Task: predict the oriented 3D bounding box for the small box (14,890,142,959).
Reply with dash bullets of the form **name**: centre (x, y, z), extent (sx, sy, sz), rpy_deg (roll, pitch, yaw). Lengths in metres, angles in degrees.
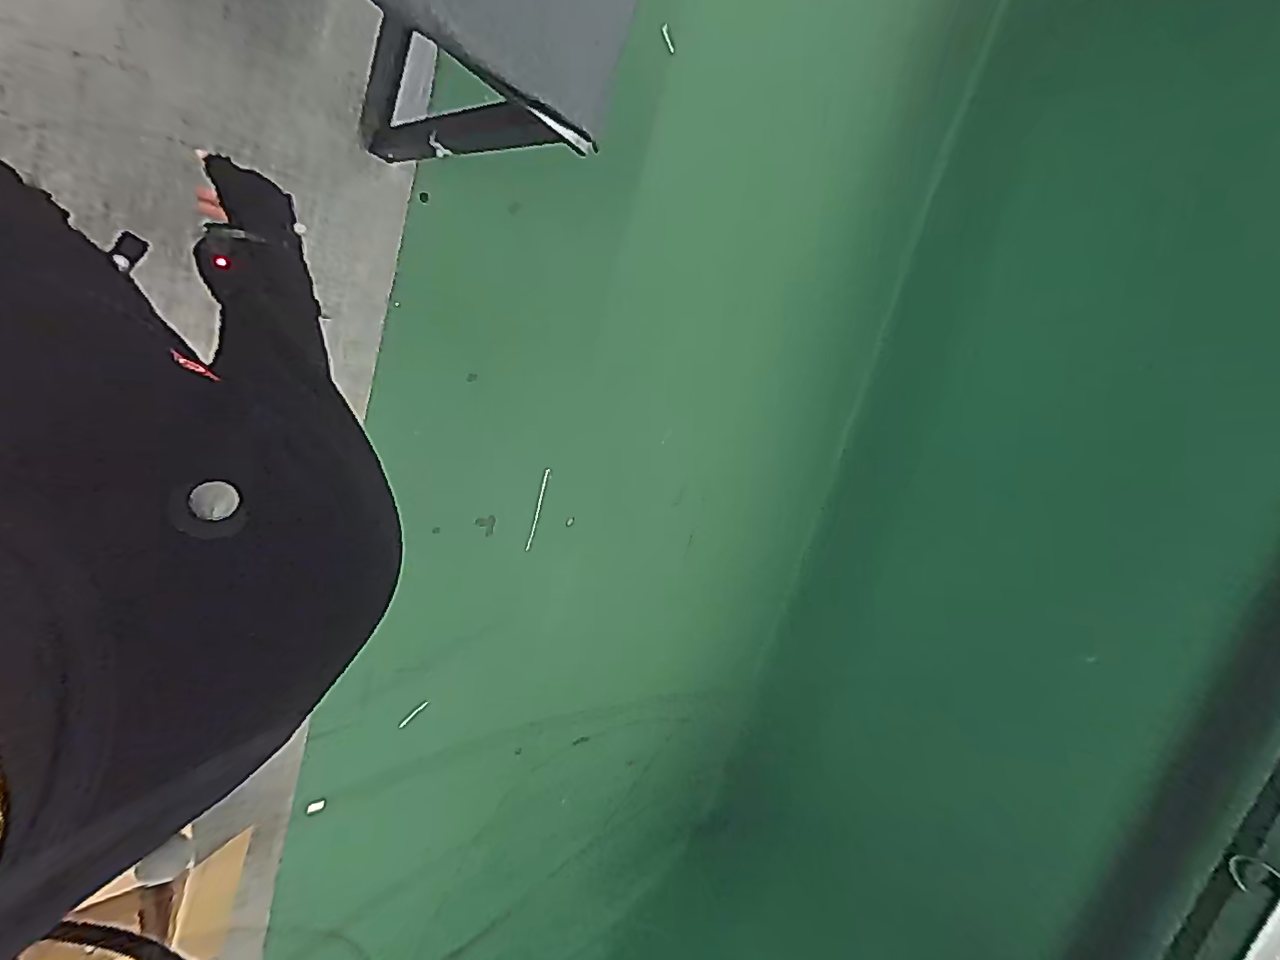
- **small box**: centre (-1.181, 1.019, 1.127), extent (0.179, 0.176, 0.168), rpy_deg (11, 101, -50)
